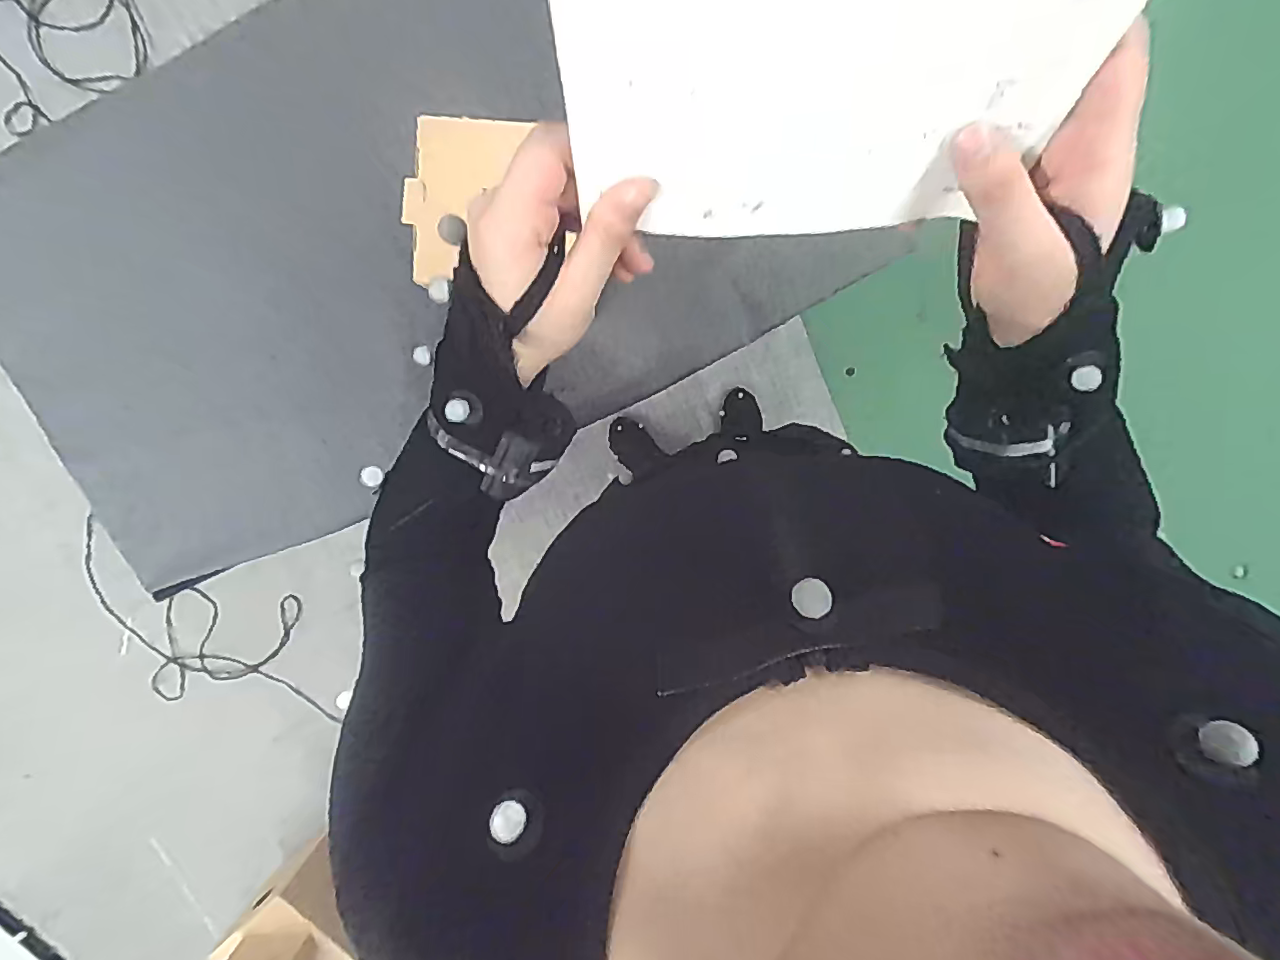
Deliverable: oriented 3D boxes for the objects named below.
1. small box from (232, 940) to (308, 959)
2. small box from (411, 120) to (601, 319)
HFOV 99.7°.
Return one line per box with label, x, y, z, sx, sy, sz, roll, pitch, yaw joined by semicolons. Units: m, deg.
small box;-0.958;1.300;1.354;0.179;0.176;0.168;-2;98;1
small box;-0.144;-0.288;0.634;0.179;0.176;0.168;5;98;3
